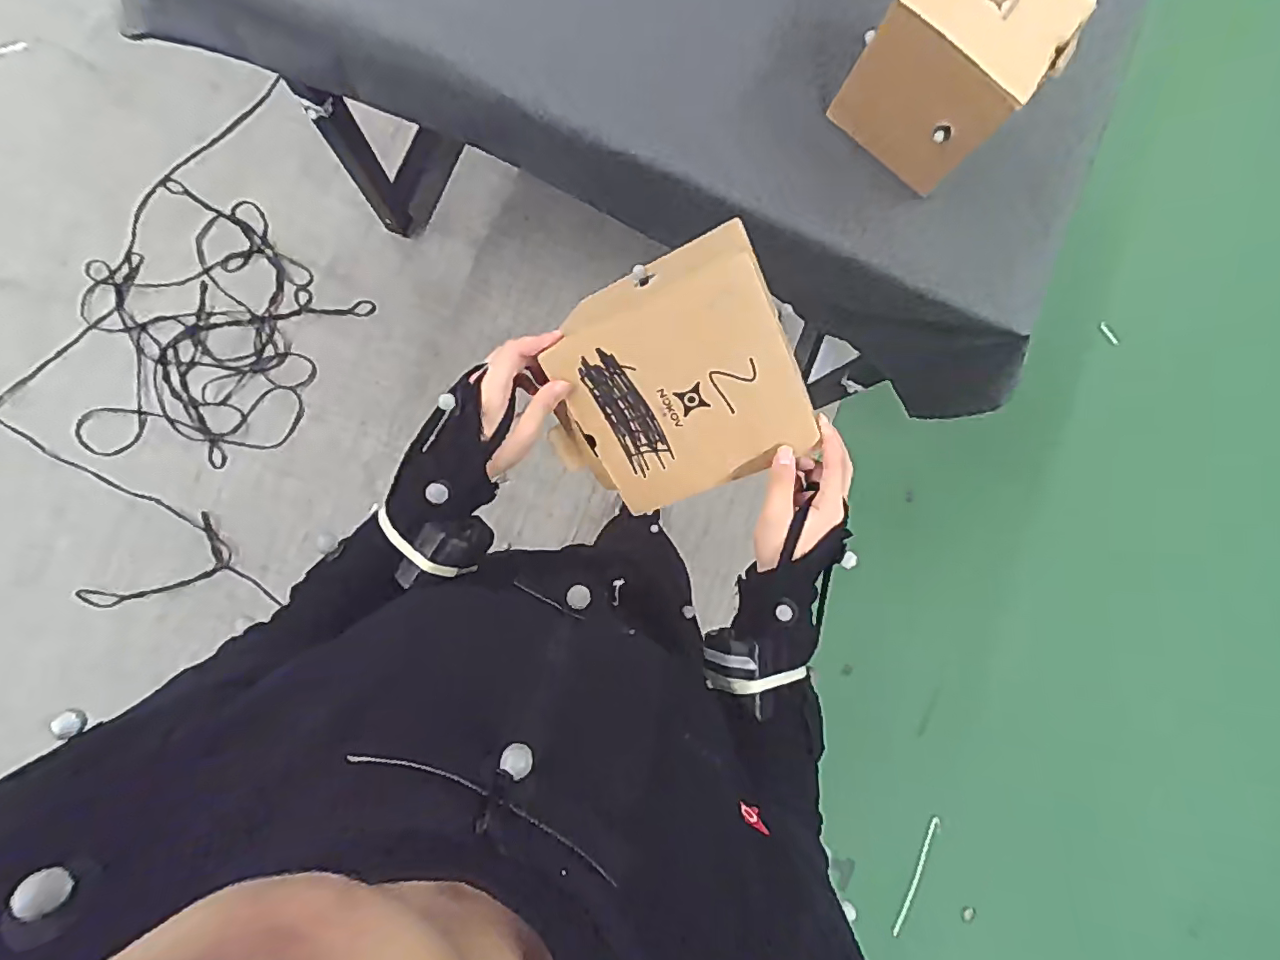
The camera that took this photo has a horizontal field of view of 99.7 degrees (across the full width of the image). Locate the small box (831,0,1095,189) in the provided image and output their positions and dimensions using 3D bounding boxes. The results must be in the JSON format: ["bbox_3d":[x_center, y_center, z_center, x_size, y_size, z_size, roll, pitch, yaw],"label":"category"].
[{"bbox_3d":[0.373,-0.493,0.655,0.179,0.176,0.168,37,82,-2],"label":"small box"}]
